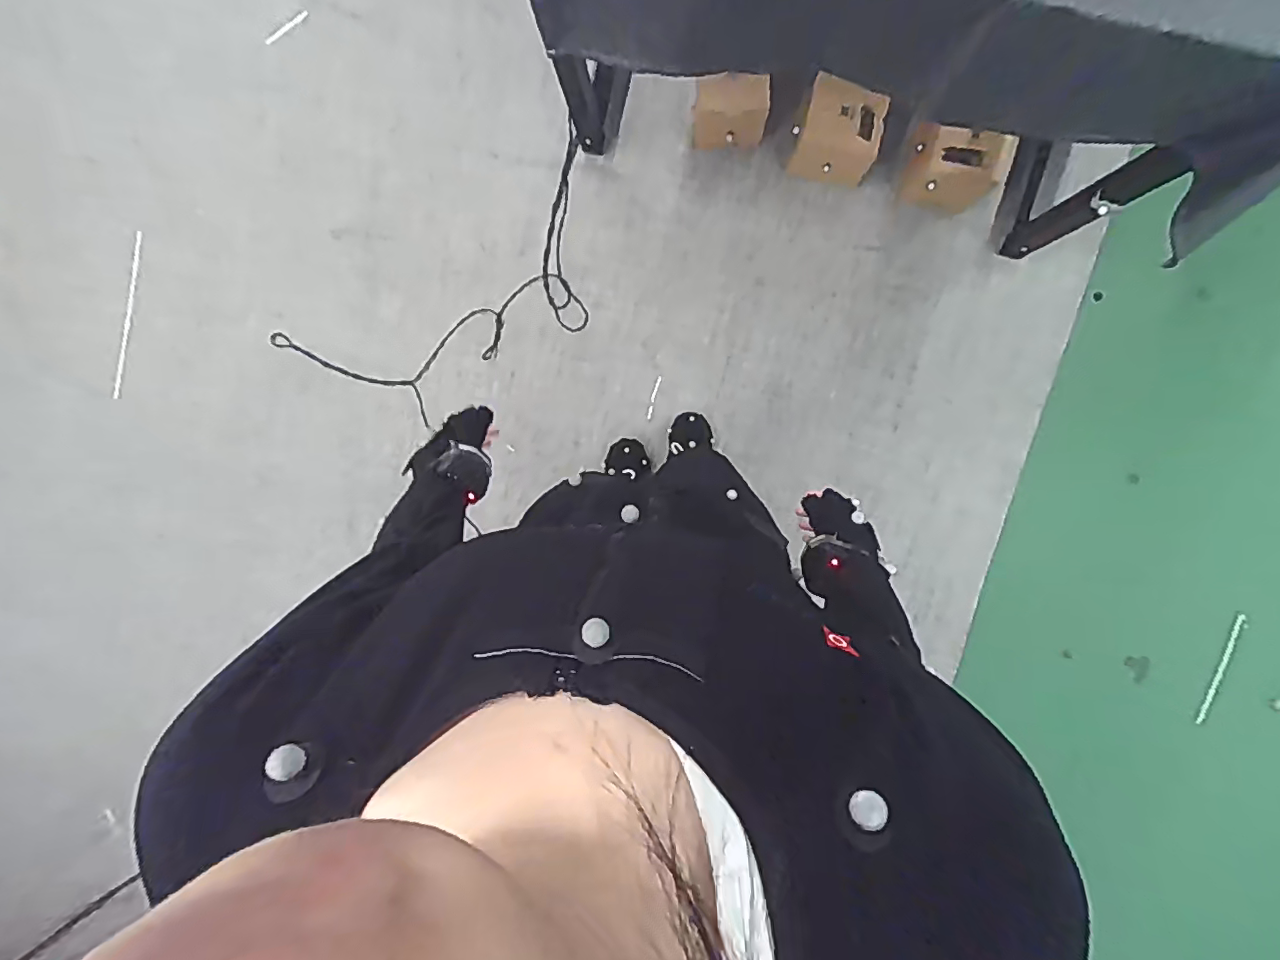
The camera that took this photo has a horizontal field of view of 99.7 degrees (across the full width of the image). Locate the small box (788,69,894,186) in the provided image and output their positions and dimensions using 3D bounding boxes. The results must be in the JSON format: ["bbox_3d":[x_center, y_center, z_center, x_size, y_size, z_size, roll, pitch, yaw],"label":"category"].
[{"bbox_3d":[0.477,-0.840,1.307,0.179,0.176,0.168,13,96,3],"label":"small box"}]

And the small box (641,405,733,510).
[{"bbox_3d":[0.116,-0.055,1.407,0.179,0.176,0.168,-35,65,-17],"label":"small box"}]
